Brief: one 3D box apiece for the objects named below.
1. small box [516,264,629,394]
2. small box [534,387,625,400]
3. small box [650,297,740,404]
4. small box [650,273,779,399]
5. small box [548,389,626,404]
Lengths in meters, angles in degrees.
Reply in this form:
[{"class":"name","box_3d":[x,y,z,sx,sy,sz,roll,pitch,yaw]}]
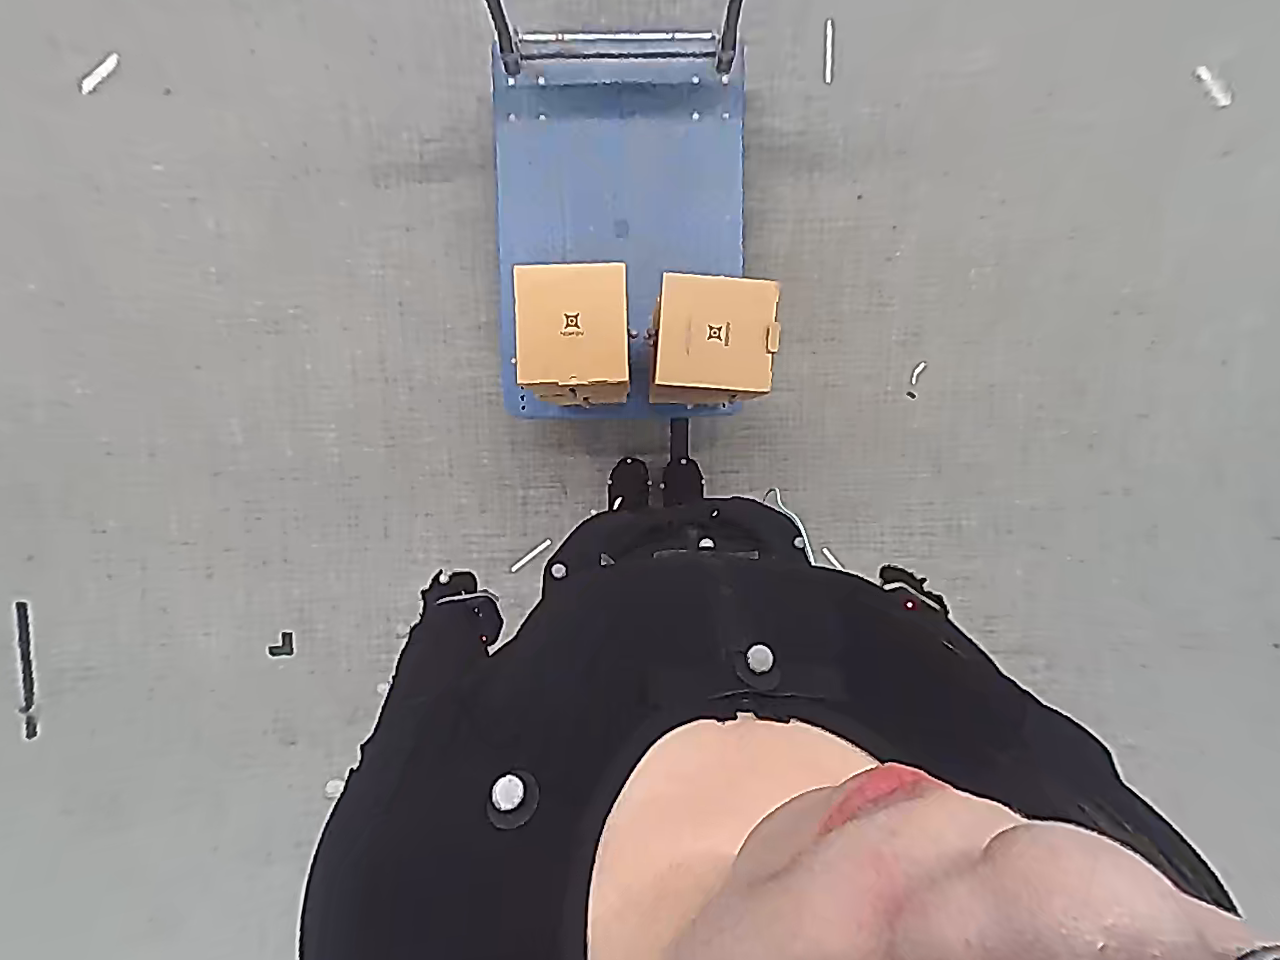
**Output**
[{"class":"small box","box_3d":[-0.103,-0.236,0.880,0.168,0.176,0.179,-2,95,-1]},{"class":"small box","box_3d":[-0.115,-0.246,1.043,0.168,0.176,0.179,-4,96,-1]},{"class":"small box","box_3d":[0.106,-0.243,1.047,0.168,0.176,0.179,1,95,-1]},{"class":"small box","box_3d":[0.113,-0.225,0.885,0.179,0.176,0.168,4,94,-1]},{"class":"small box","box_3d":[-0.117,-0.261,1.207,0.168,0.176,0.179,-2,94,-1]}]
